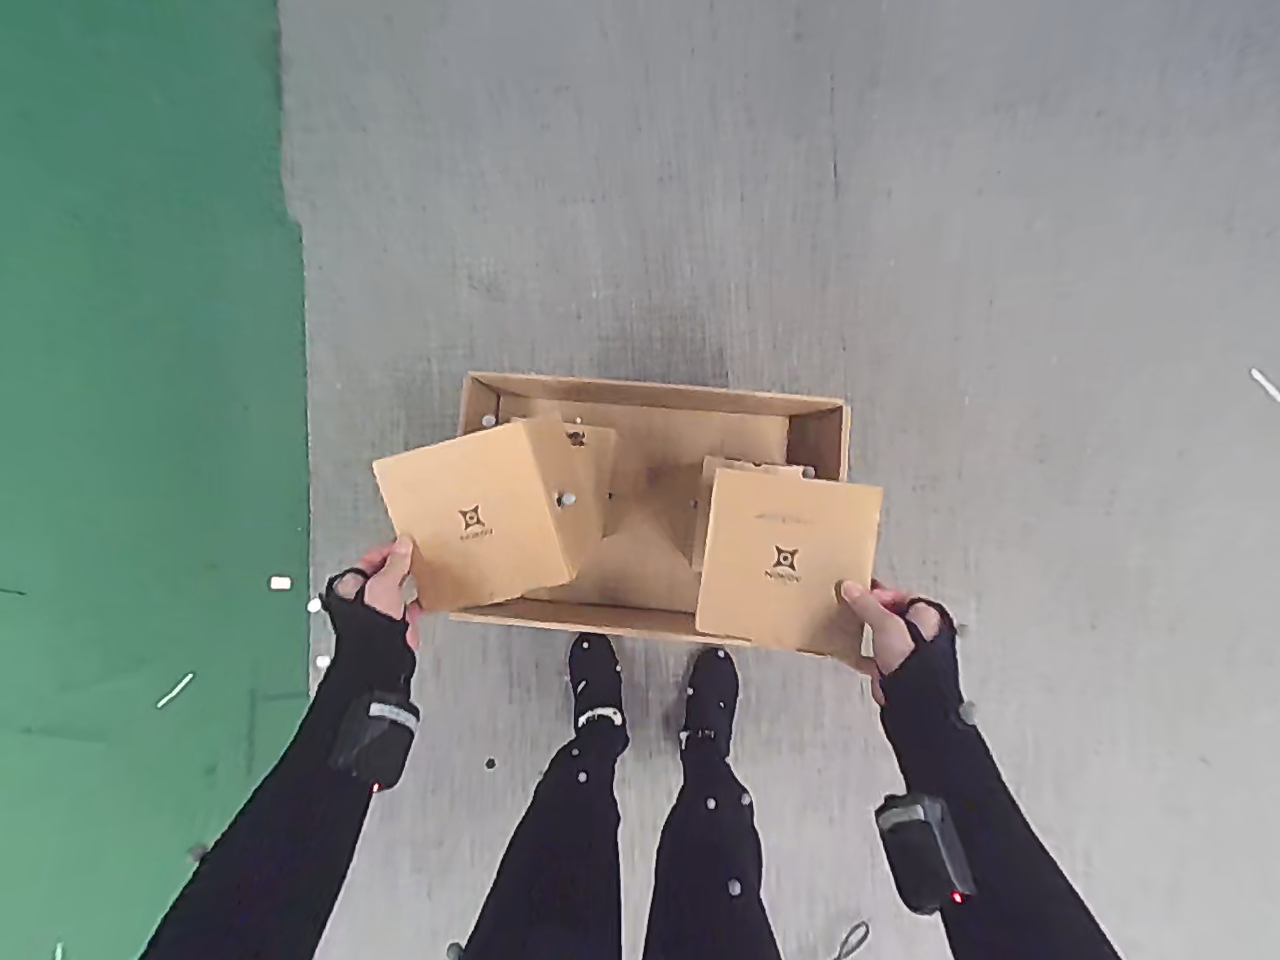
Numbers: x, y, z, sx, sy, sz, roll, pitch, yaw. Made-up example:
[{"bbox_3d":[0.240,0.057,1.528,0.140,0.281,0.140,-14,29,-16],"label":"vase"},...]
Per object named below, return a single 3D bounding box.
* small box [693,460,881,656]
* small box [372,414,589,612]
[{"bbox_3d":[0.164,0.077,0.621,0.168,0.176,0.179,8,91,14],"label":"small box"},{"bbox_3d":[-0.169,0.025,0.634,0.168,0.176,0.179,-16,100,6],"label":"small box"}]
